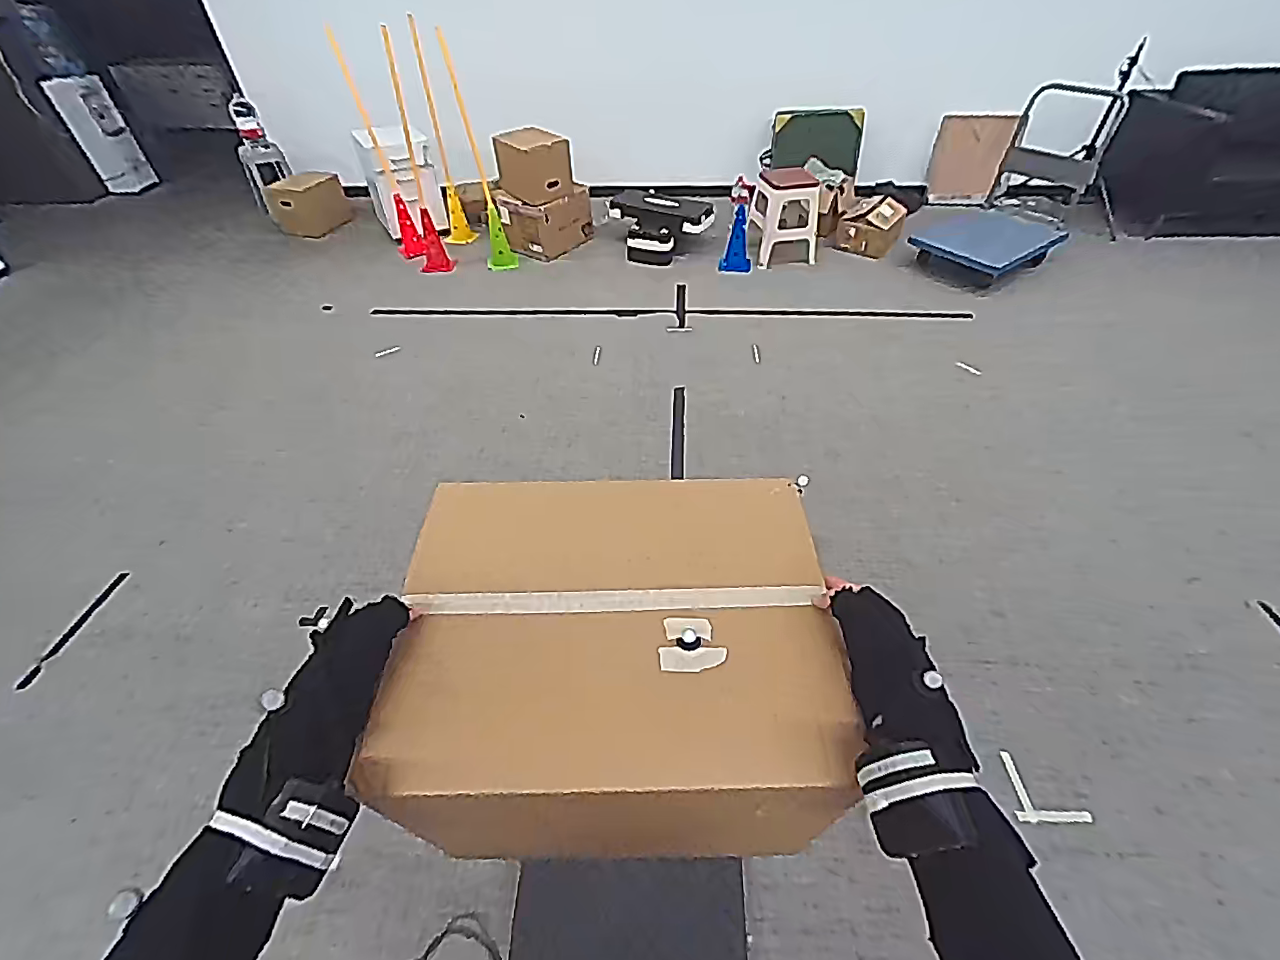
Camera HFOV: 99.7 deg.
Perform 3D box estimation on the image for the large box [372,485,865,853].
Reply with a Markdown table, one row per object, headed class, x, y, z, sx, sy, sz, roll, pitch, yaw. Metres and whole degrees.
| class | x | y | z | sx | sy | sz | roll | pitch | yaw |
| --- | --- | --- | --- | --- | --- | --- | --- | --- | --- |
| large box | -0.020 | 0.222 | 0.636 | 0.408 | 0.320 | 0.320 | -1 | 48 | 0 |
